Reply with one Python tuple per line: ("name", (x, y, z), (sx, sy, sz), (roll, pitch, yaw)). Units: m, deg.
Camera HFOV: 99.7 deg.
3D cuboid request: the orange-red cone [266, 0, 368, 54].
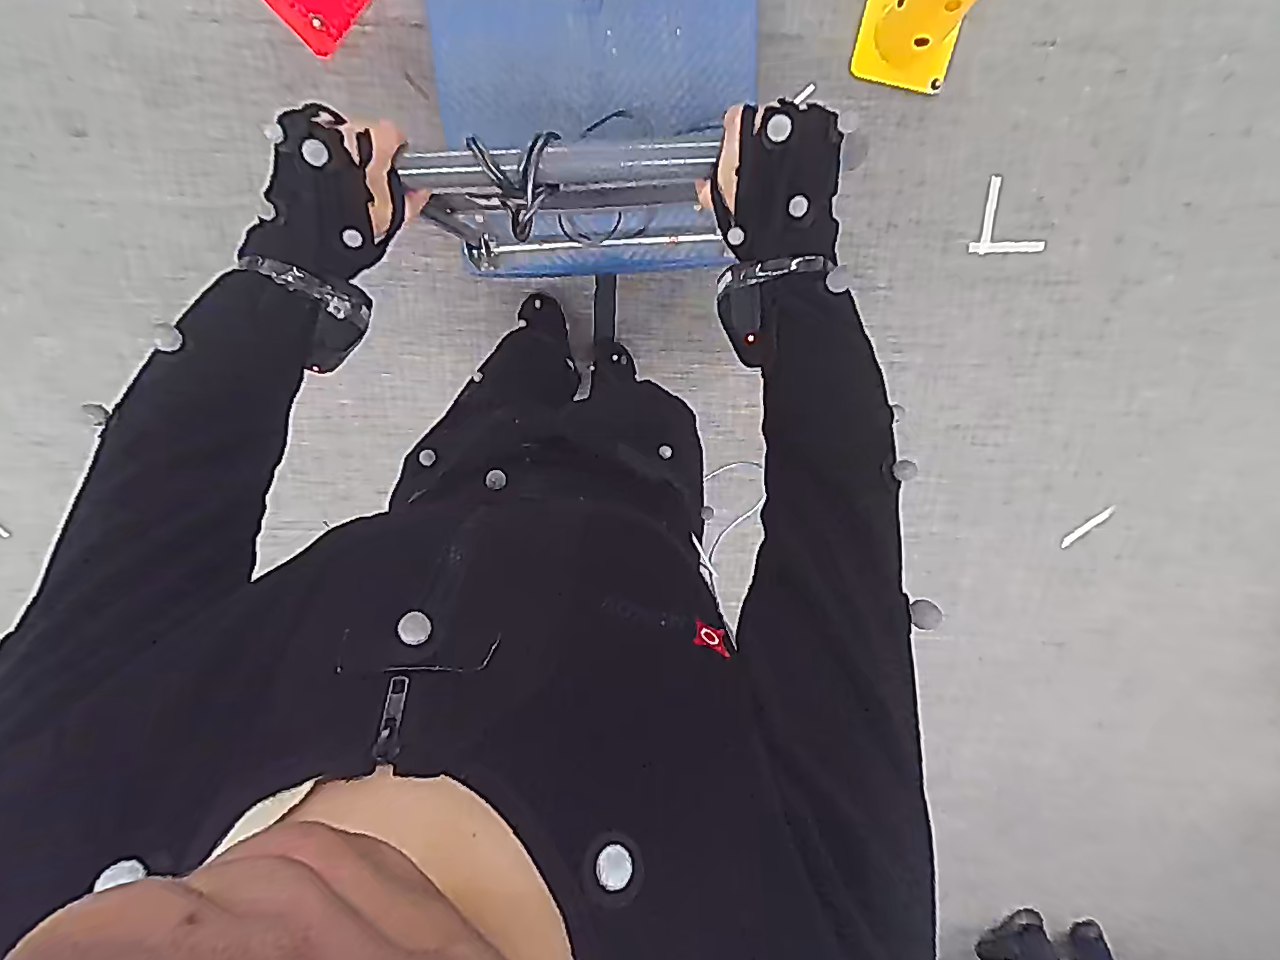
("orange-red cone", (-0.632, -0.922, 0.883), (0.199, 0.360, 0.198), (-42, 105, 10))
